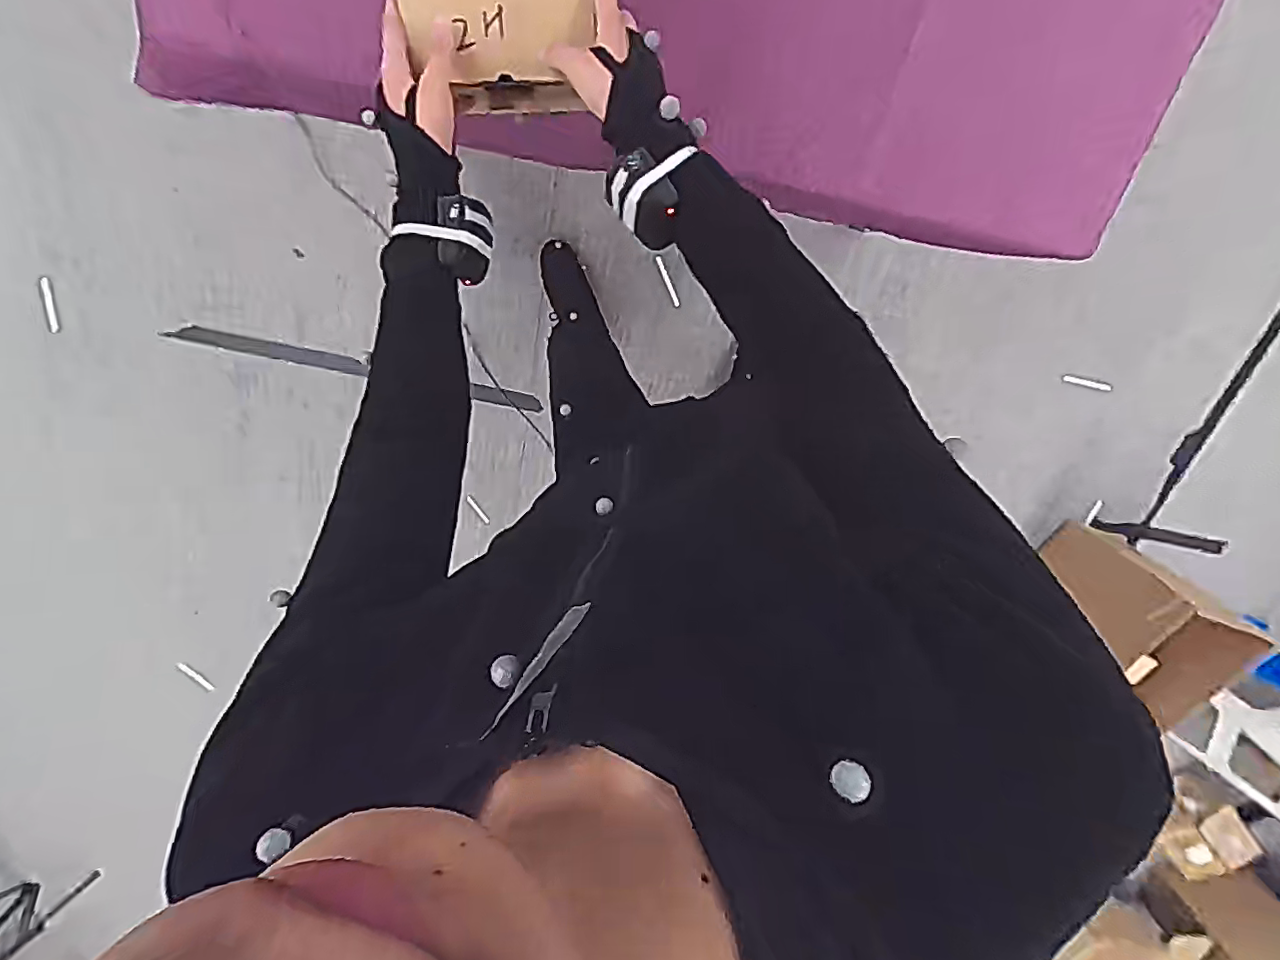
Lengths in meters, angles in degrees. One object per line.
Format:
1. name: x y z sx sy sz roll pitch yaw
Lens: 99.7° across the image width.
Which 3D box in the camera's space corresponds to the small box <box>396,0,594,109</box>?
1. small box: -0.131 -0.474 0.517 0.168 0.176 0.179 -3 117 -3
